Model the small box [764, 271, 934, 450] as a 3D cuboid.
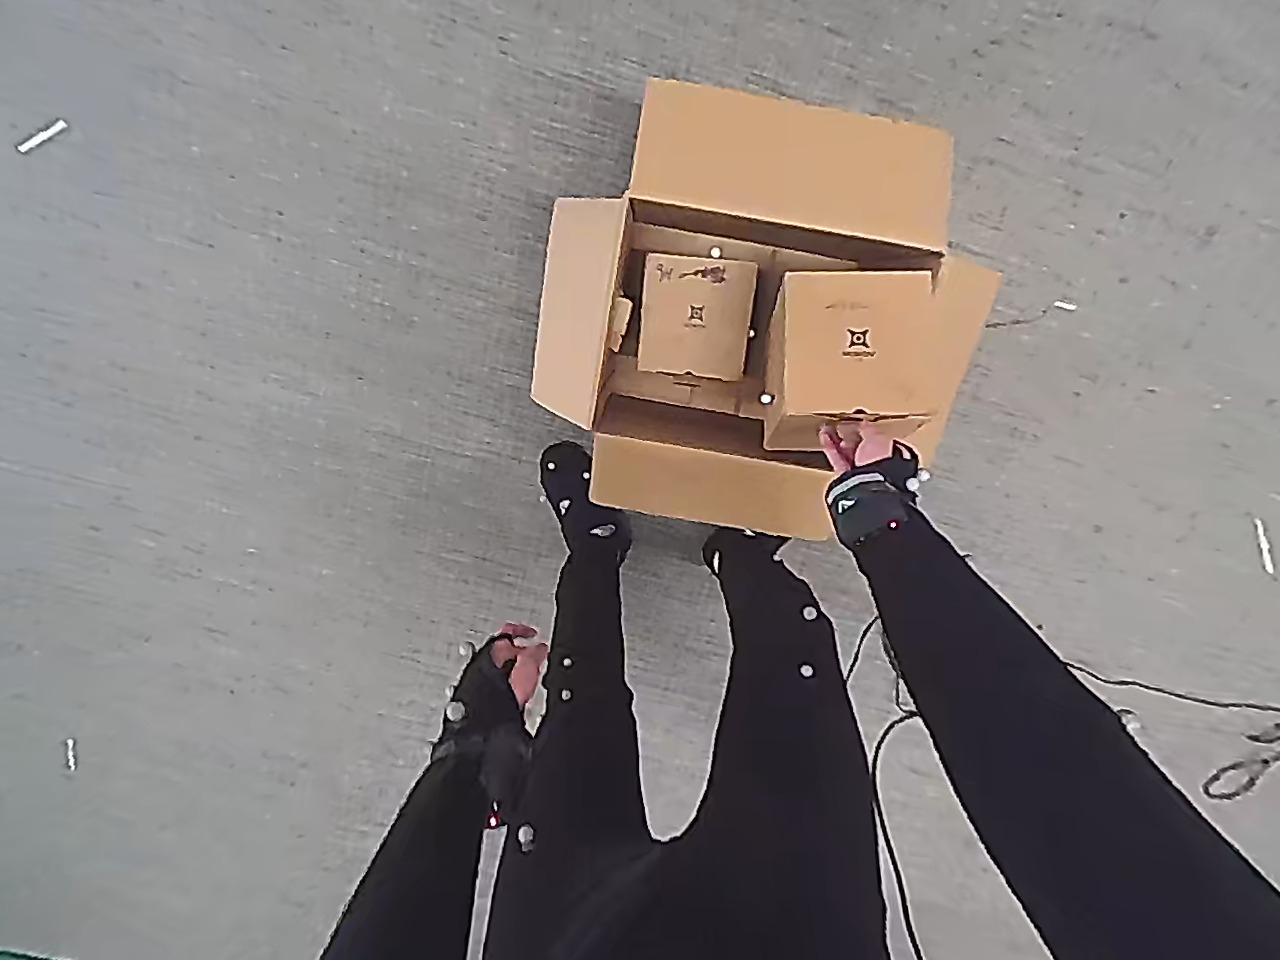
[{"bbox_3d":[0.254,-0.142,0.692,0.168,0.176,0.179,3,78,5],"label":"small box"}]
